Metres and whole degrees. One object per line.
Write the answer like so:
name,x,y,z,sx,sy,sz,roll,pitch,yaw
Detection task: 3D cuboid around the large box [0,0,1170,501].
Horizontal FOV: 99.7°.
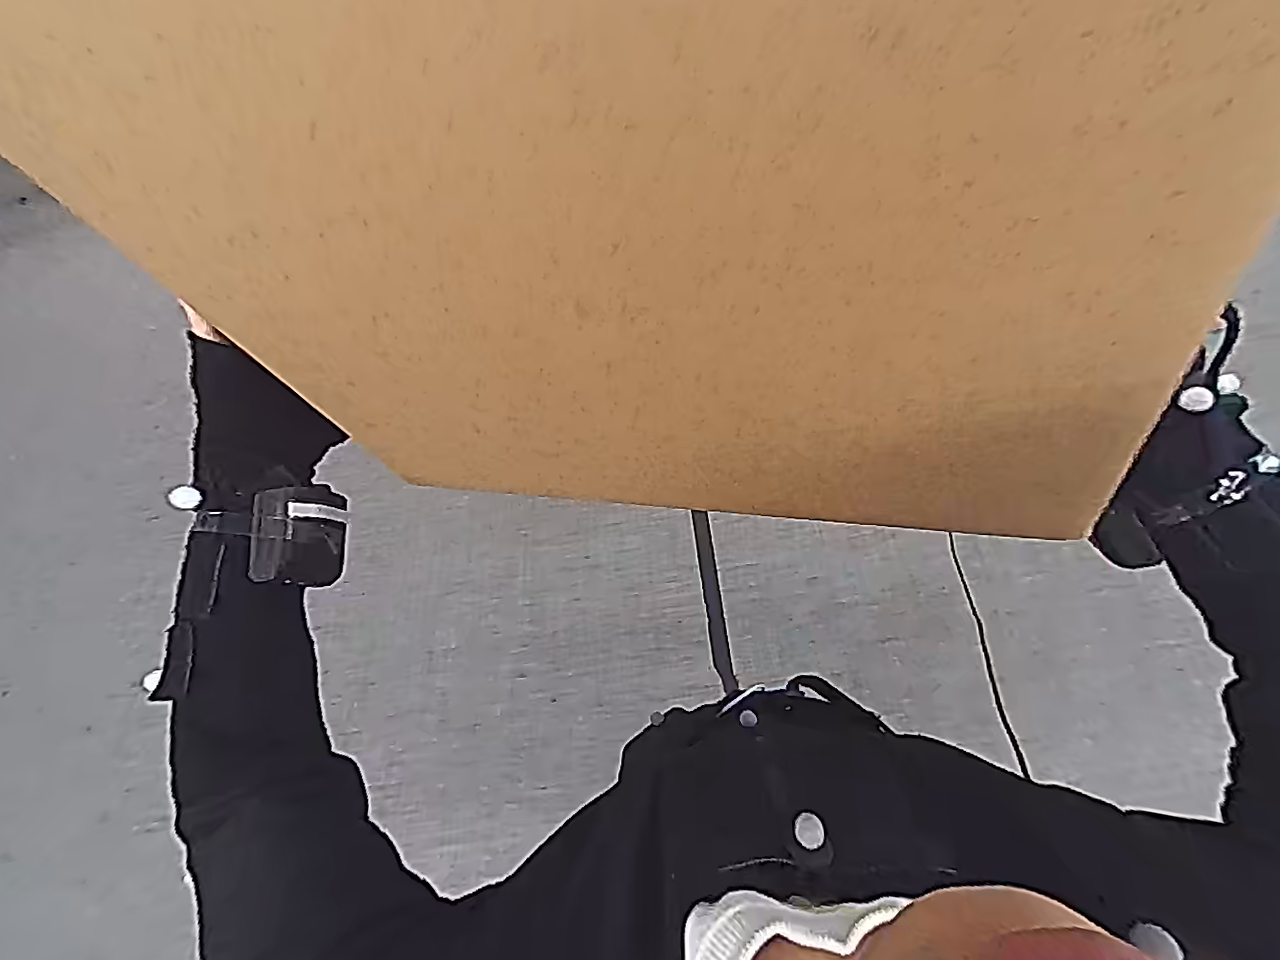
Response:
large box,-0.013,-0.202,0.302,0.408,0.320,0.320,4,60,26
